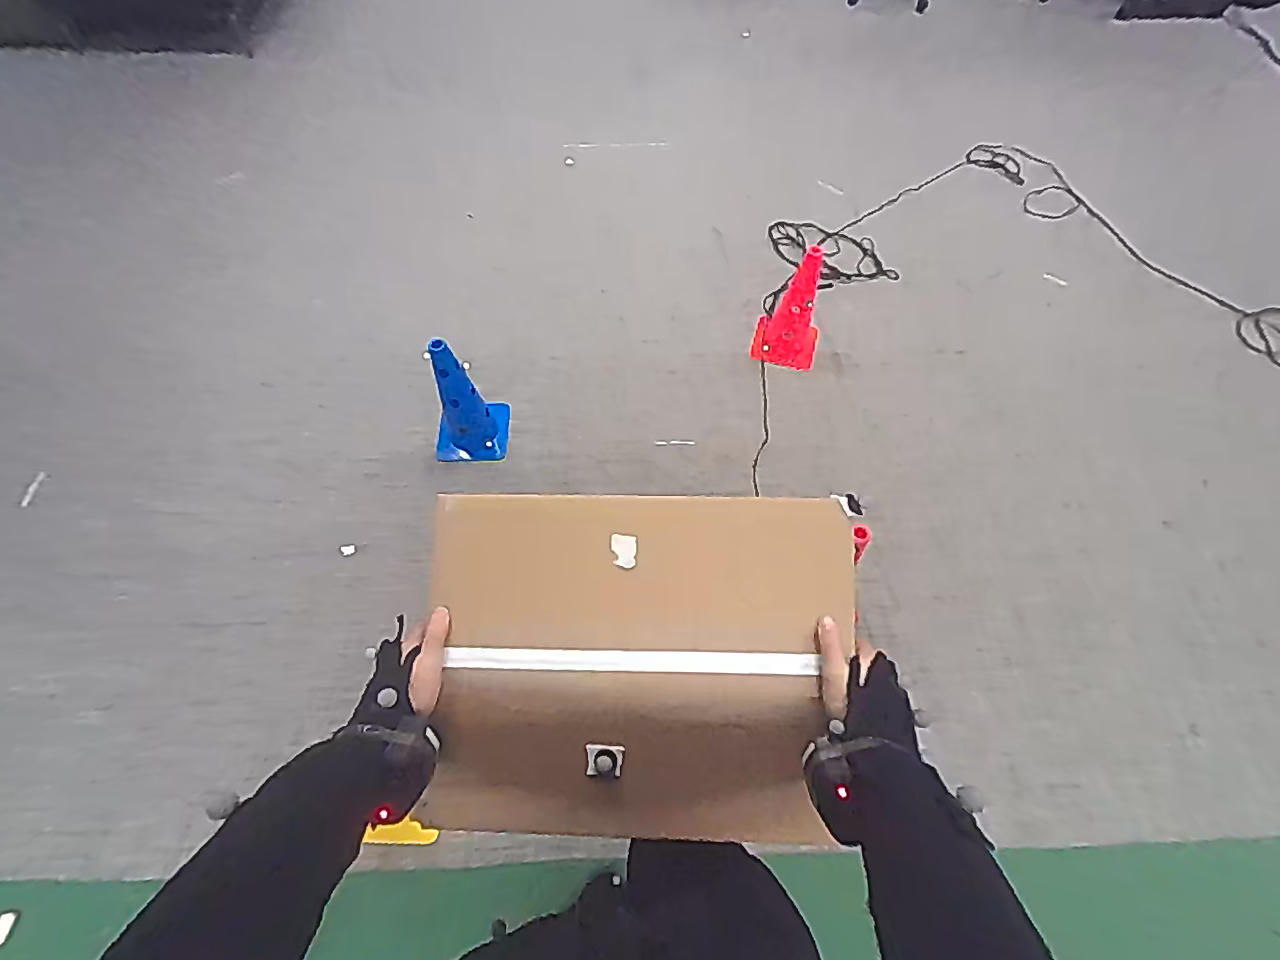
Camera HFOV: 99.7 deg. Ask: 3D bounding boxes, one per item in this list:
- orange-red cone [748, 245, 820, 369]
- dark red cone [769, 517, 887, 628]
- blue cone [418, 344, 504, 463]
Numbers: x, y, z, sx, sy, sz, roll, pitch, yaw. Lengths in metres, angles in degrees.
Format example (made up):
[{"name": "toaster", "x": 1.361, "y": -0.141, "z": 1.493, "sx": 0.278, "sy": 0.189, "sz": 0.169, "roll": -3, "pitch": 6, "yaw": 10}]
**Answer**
[{"name": "orange-red cone", "x": 0.467, "y": -0.535, "z": 1.605, "sx": 0.199, "sy": 0.360, "sz": 0.198, "roll": 17, "pitch": 62, "yaw": 8}, {"name": "dark red cone", "x": 0.428, "y": 0.174, "z": 1.164, "sx": 0.202, "sy": 0.394, "sz": 0.201, "roll": -8, "pitch": 63, "yaw": -5}, {"name": "blue cone", "x": -0.496, "y": -0.217, "z": 1.436, "sx": 0.192, "sy": 0.380, "sz": 0.193, "roll": -1, "pitch": 59, "yaw": 0}]
